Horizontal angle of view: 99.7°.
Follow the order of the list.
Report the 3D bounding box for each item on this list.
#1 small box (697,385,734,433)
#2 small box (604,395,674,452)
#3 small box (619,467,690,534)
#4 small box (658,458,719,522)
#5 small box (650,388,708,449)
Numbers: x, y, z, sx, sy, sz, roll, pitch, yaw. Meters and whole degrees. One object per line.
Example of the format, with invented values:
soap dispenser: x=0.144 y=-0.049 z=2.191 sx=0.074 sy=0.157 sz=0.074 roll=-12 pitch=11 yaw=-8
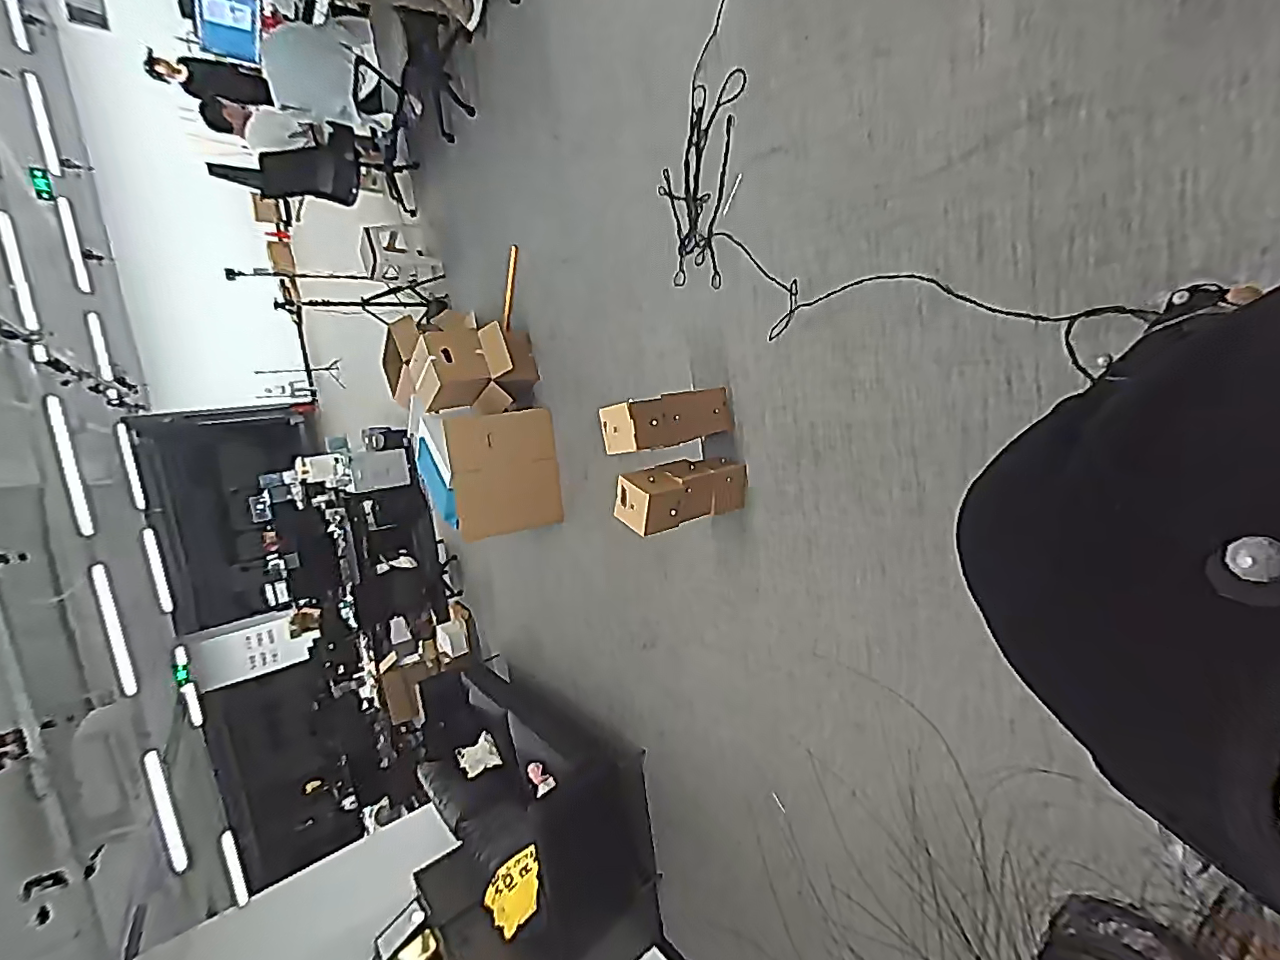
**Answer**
small box: x=0.246 y=-0.264 z=2.091 sx=0.179 sy=0.176 sz=0.168 roll=-9 pitch=94 yaw=55
small box: x=0.002 y=-0.196 z=1.886 sx=0.179 sy=0.176 sz=0.168 roll=-4 pitch=99 yaw=52
small box: x=0.051 y=0.065 z=1.910 sx=0.179 sy=0.176 sz=0.168 roll=33 pitch=126 yaw=43
small box: x=0.175 y=0.031 z=2.011 sx=0.168 sy=0.176 sz=0.179 roll=28 pitch=122 yaw=47
small box: x=0.127 y=-0.226 z=1.986 sx=0.168 sy=0.176 sz=0.179 roll=-17 pitch=88 yaw=53
